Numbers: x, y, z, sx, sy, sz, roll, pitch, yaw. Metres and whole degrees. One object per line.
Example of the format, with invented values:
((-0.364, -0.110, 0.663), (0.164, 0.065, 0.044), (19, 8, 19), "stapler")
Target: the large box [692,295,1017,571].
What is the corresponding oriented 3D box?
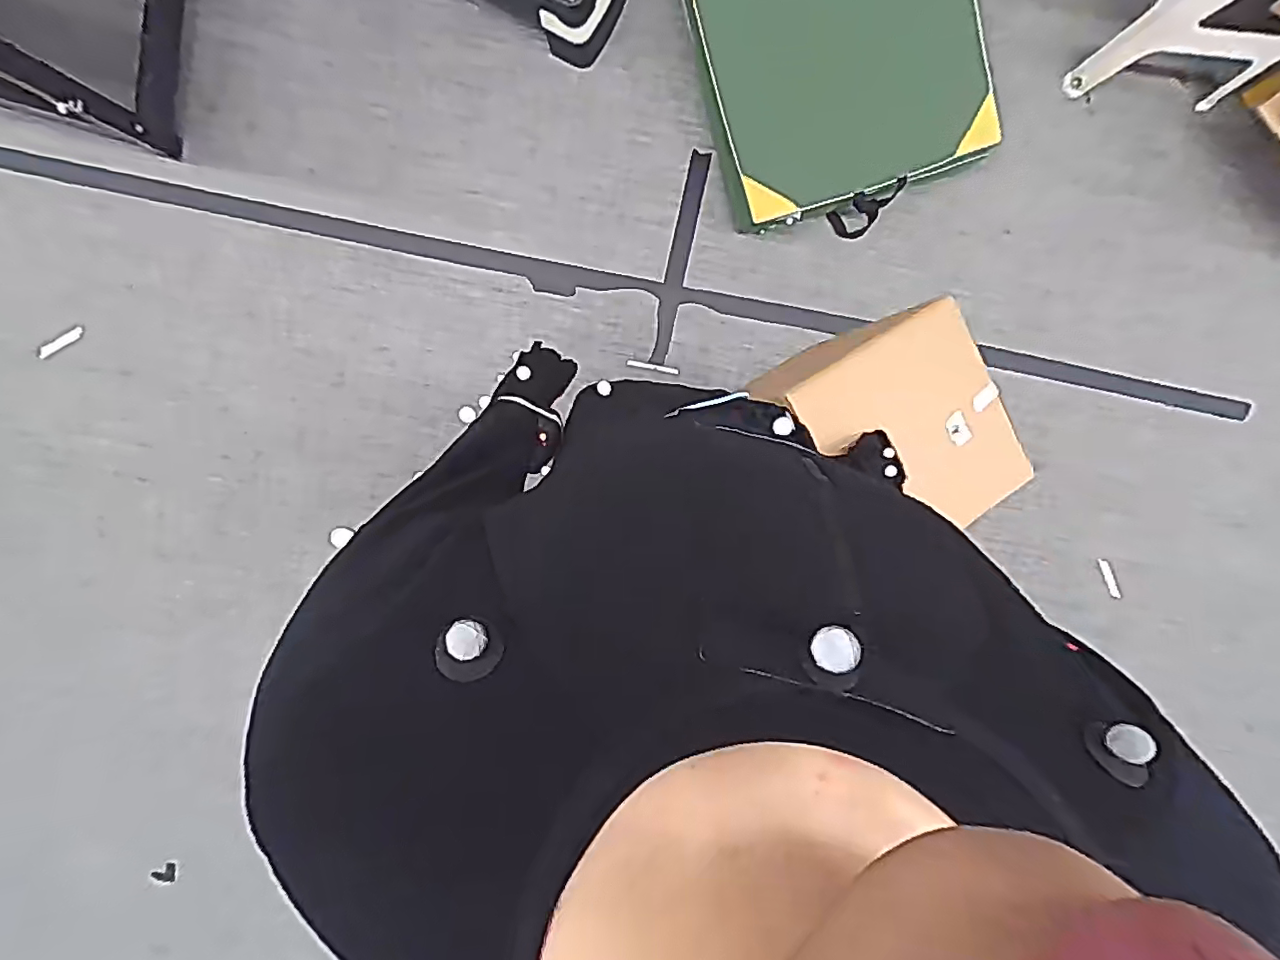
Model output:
((0.350, -0.077, 0.984), (0.320, 0.408, 0.320), (-31, 98, -9), "large box")
